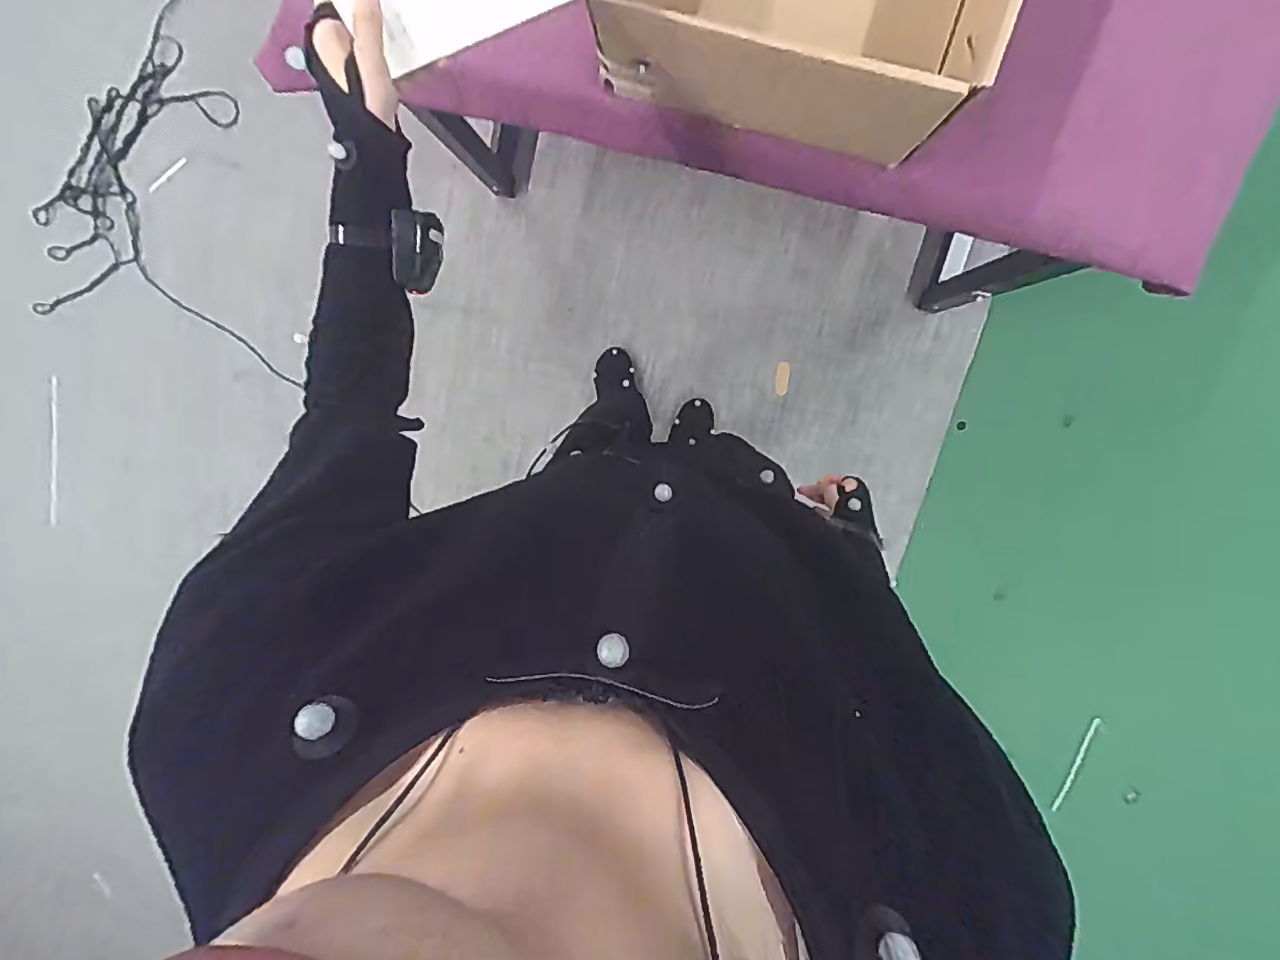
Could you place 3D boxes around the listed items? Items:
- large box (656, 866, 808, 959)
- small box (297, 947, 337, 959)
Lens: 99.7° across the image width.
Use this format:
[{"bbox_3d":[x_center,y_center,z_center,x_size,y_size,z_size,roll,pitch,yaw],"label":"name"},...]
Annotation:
[{"bbox_3d":[0.252,1.390,1.576,0.408,0.320,0.320,0,101,3],"label":"large box"},{"bbox_3d":[-0.883,1.374,1.404,0.179,0.176,0.168,44,101,-3],"label":"small box"}]
